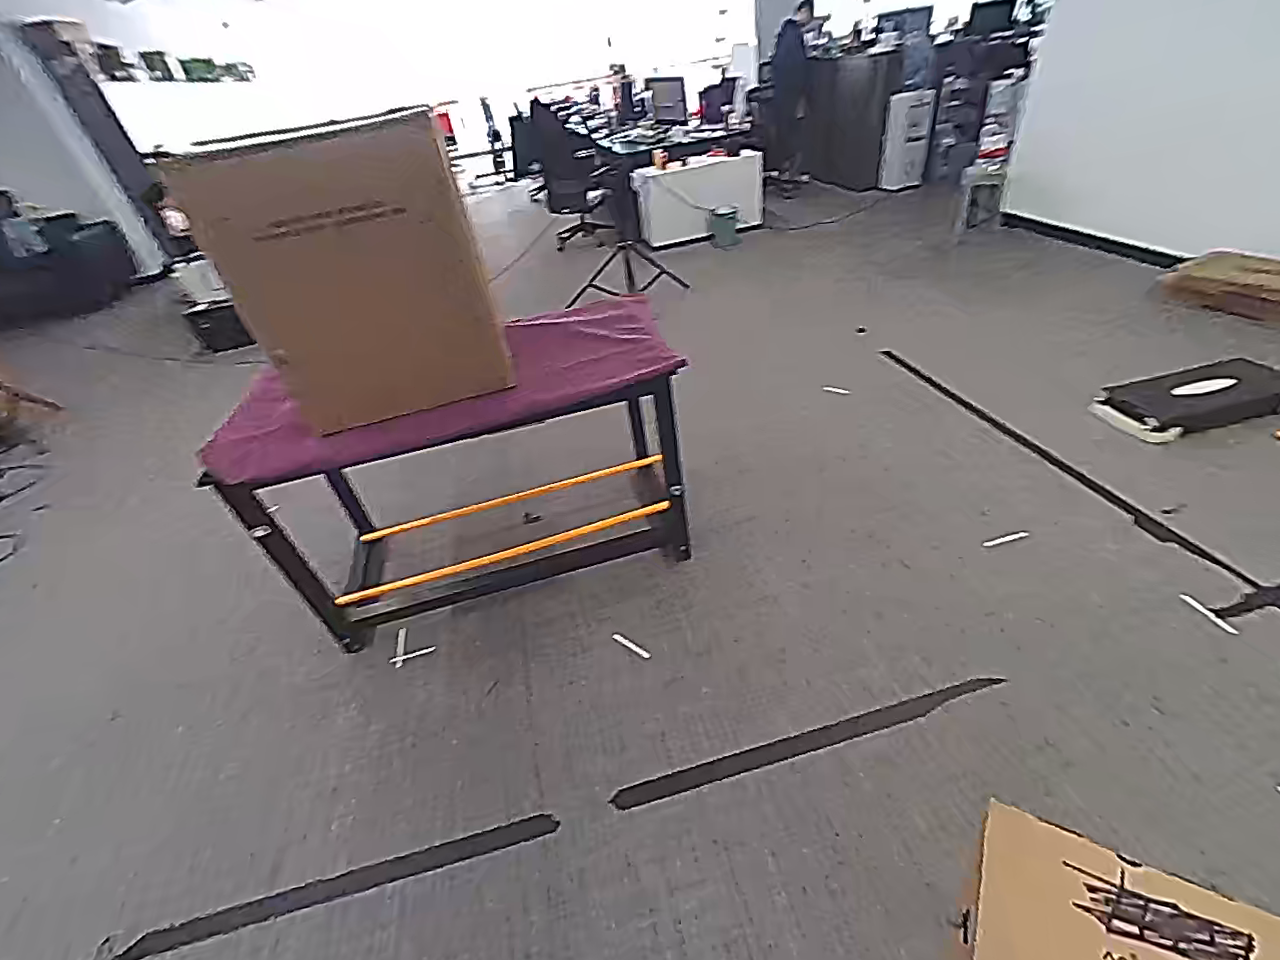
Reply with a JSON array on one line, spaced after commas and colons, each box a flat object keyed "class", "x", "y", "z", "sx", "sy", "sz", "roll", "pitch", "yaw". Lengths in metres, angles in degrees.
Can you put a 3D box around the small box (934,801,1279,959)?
[{"class": "small box", "x": 0.283, "y": 0.364, "z": 0.342, "sx": 0.168, "sy": 0.176, "sz": 0.179, "roll": 12, "pitch": 30, "yaw": 32}]
